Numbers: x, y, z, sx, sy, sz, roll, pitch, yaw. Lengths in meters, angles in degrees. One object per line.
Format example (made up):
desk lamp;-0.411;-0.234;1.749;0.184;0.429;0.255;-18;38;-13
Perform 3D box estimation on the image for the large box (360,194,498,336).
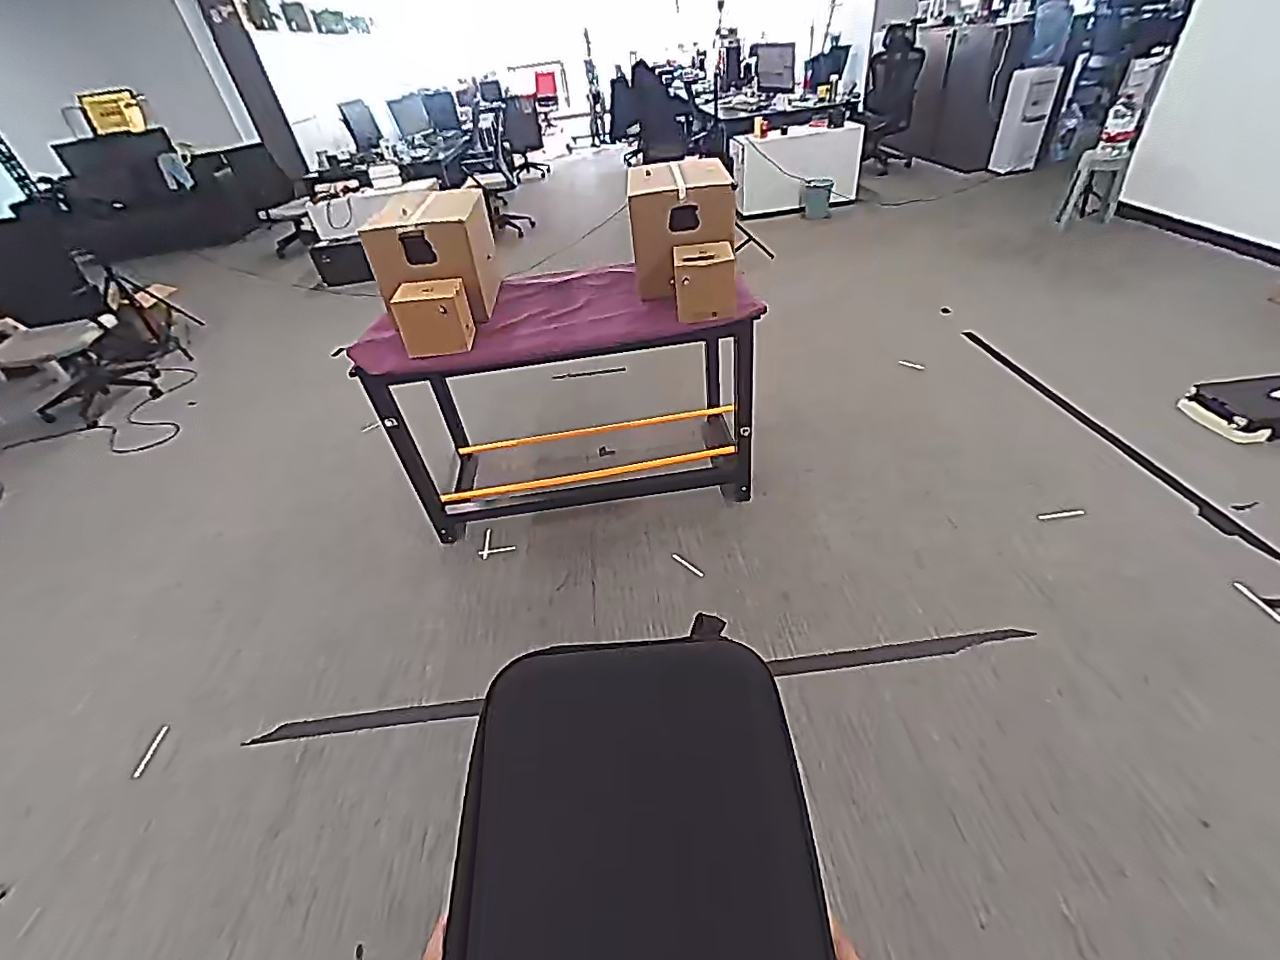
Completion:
large box;-0.672;-0.723;1.802;0.320;0.320;0.408;-8;42;-2
